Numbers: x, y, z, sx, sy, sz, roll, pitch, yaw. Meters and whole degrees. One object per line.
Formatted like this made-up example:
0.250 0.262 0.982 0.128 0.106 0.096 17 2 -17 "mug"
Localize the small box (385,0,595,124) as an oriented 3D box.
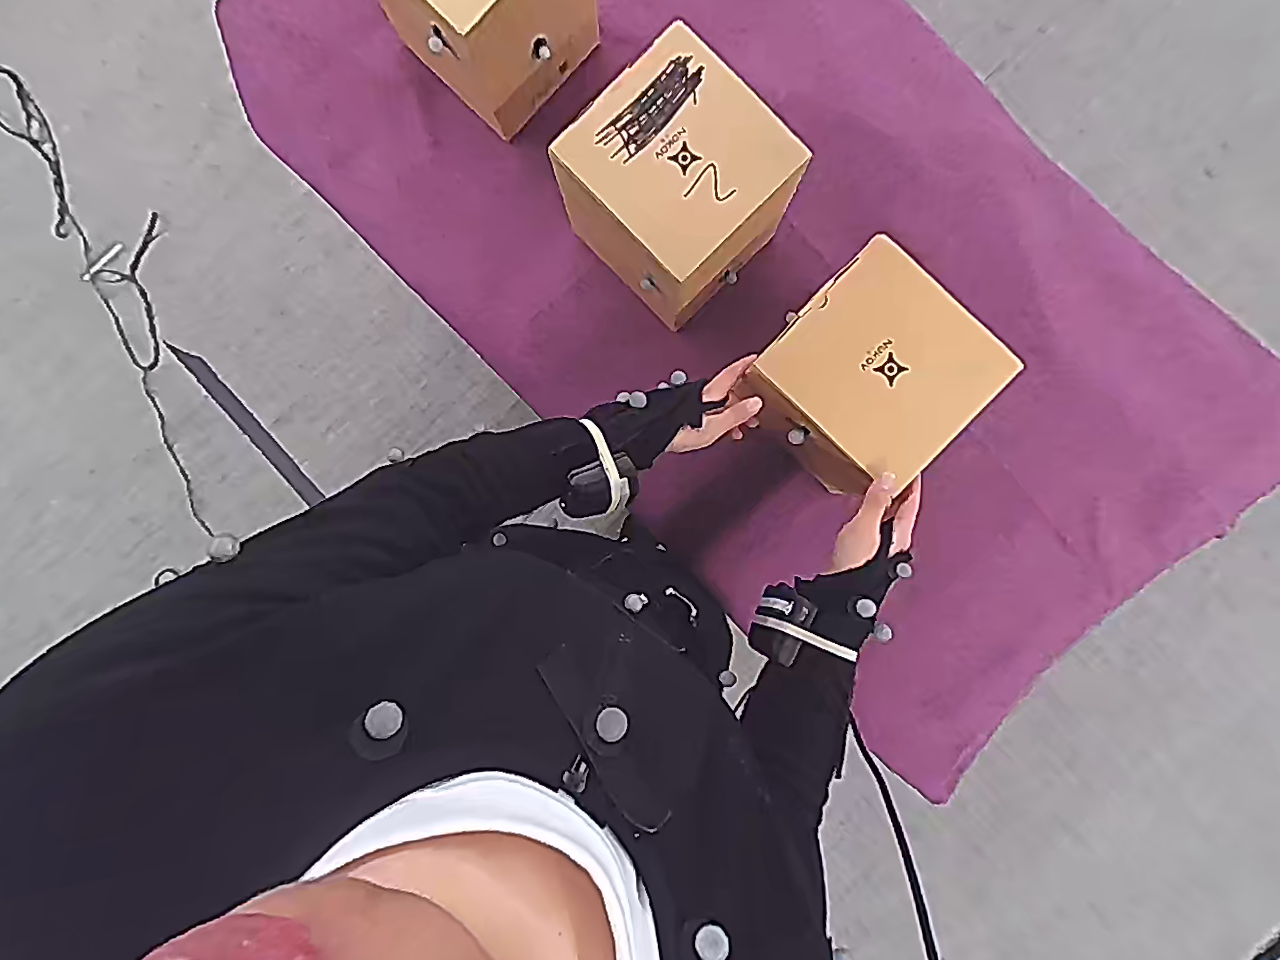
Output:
-0.164 -0.524 0.569 0.179 0.176 0.168 44 91 -1 "small box"
